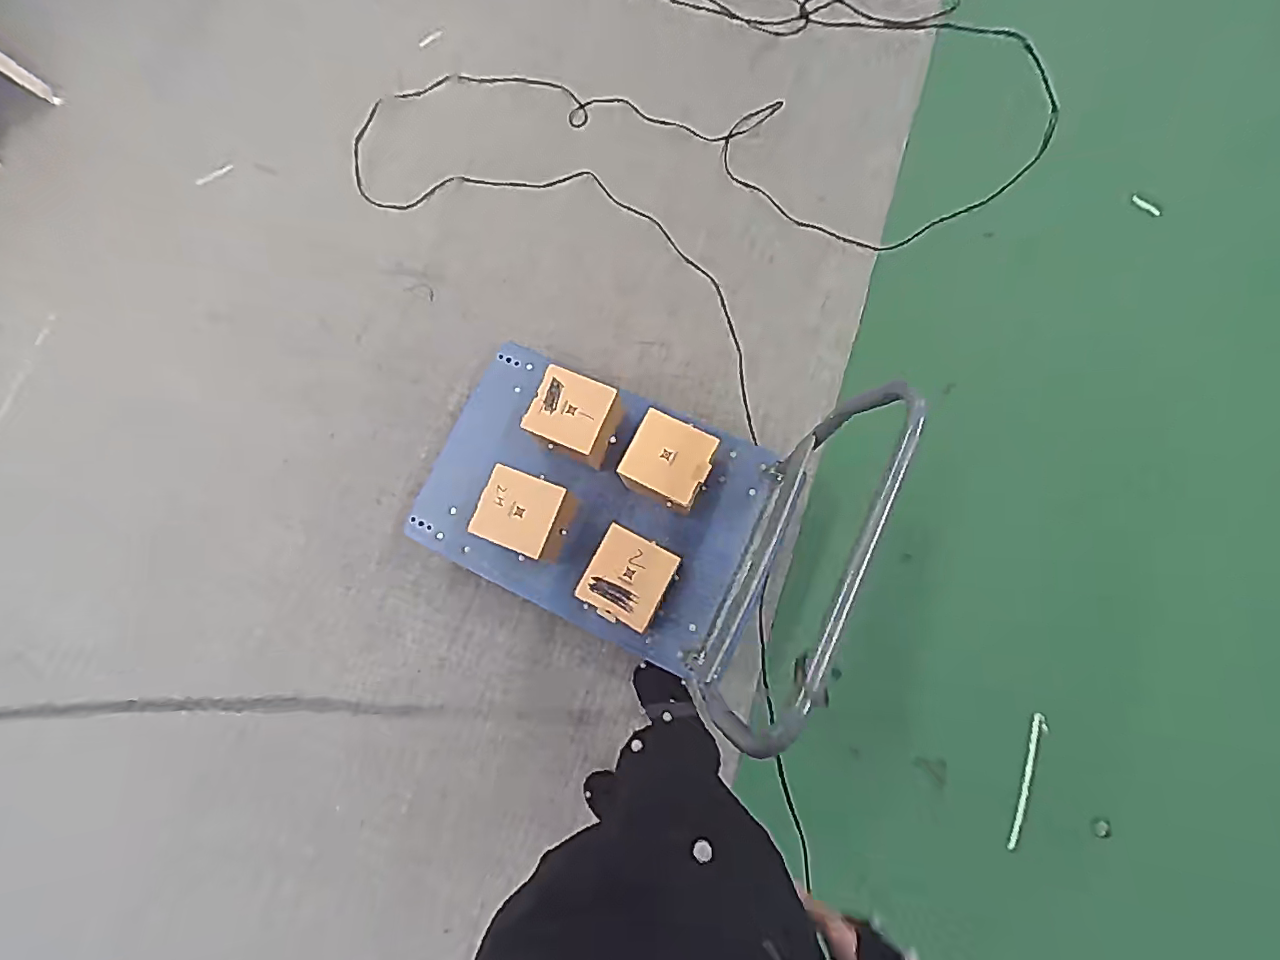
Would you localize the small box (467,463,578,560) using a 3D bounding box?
[{"bbox_3d":[-0.261,0.080,1.250,0.179,0.176,0.168,21,80,9],"label":"small box"}]

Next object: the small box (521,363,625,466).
[{"bbox_3d":[-0.152,-0.147,1.287,0.179,0.176,0.168,23,82,8],"label":"small box"}]

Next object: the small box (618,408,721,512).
[{"bbox_3d":[0.068,-0.037,1.247,0.179,0.176,0.168,27,82,9],"label":"small box"}]
